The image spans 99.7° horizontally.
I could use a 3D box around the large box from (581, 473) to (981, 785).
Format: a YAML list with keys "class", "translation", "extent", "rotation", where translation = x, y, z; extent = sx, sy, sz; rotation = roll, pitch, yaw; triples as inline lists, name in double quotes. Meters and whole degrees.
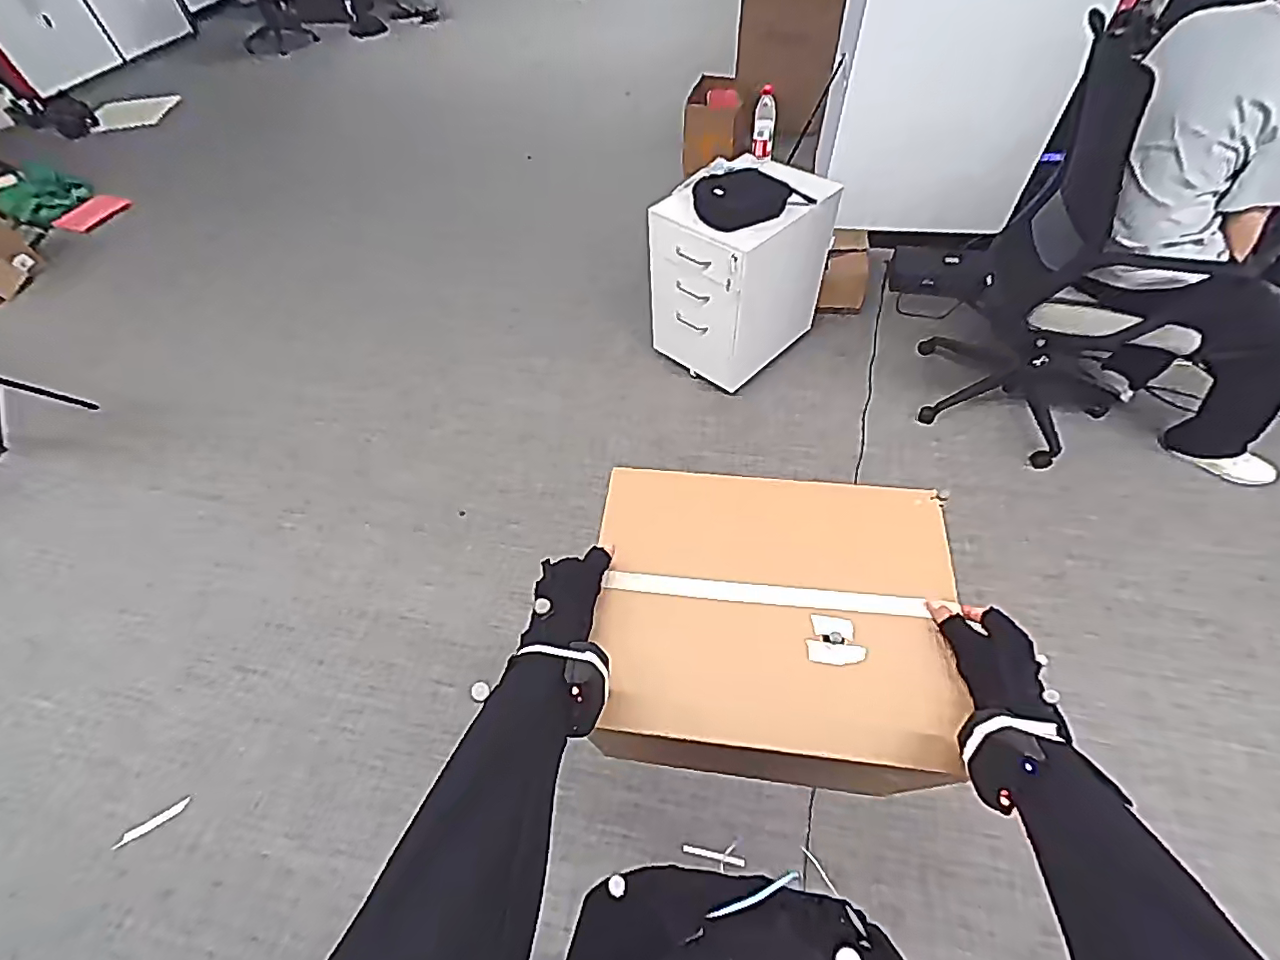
- class: "large box"
  translation: [0.157, 0.211, 0.742]
  extent: [0.408, 0.320, 0.320]
  rotation: [5, 59, 7]
